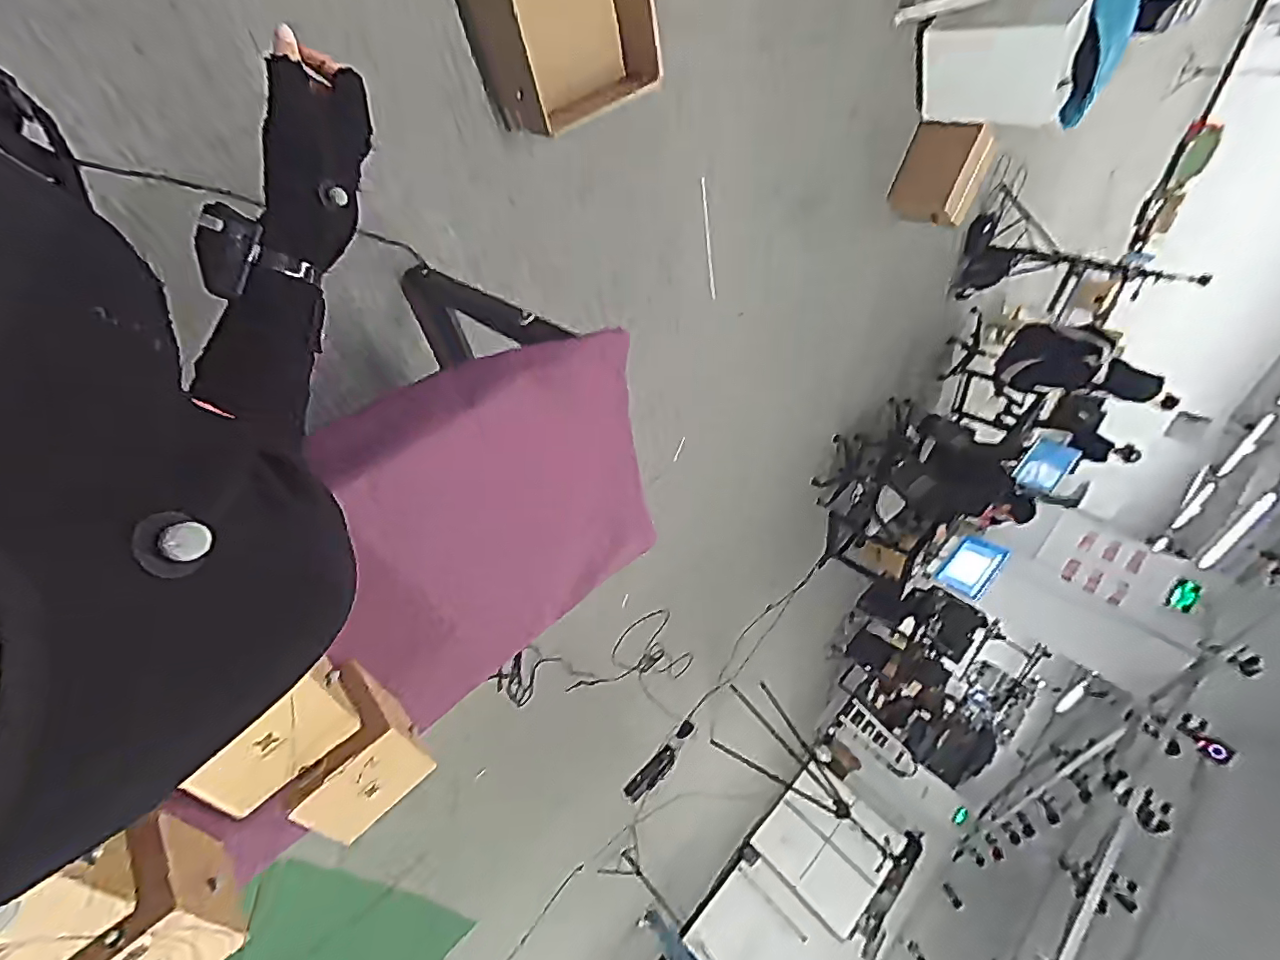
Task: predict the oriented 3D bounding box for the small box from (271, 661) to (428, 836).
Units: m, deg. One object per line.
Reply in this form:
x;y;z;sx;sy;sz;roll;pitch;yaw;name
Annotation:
-0.490;0.436;0.895;0.168;0.176;0.179;-38;140;-25;small box

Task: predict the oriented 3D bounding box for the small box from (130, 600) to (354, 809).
-0.532;0.290;0.730;0.168;0.176;0.179;-36;140;-28;small box

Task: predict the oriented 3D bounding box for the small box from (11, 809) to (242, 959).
-0.714;0.610;0.763;0.168;0.176;0.179;-35;140;-29;small box
